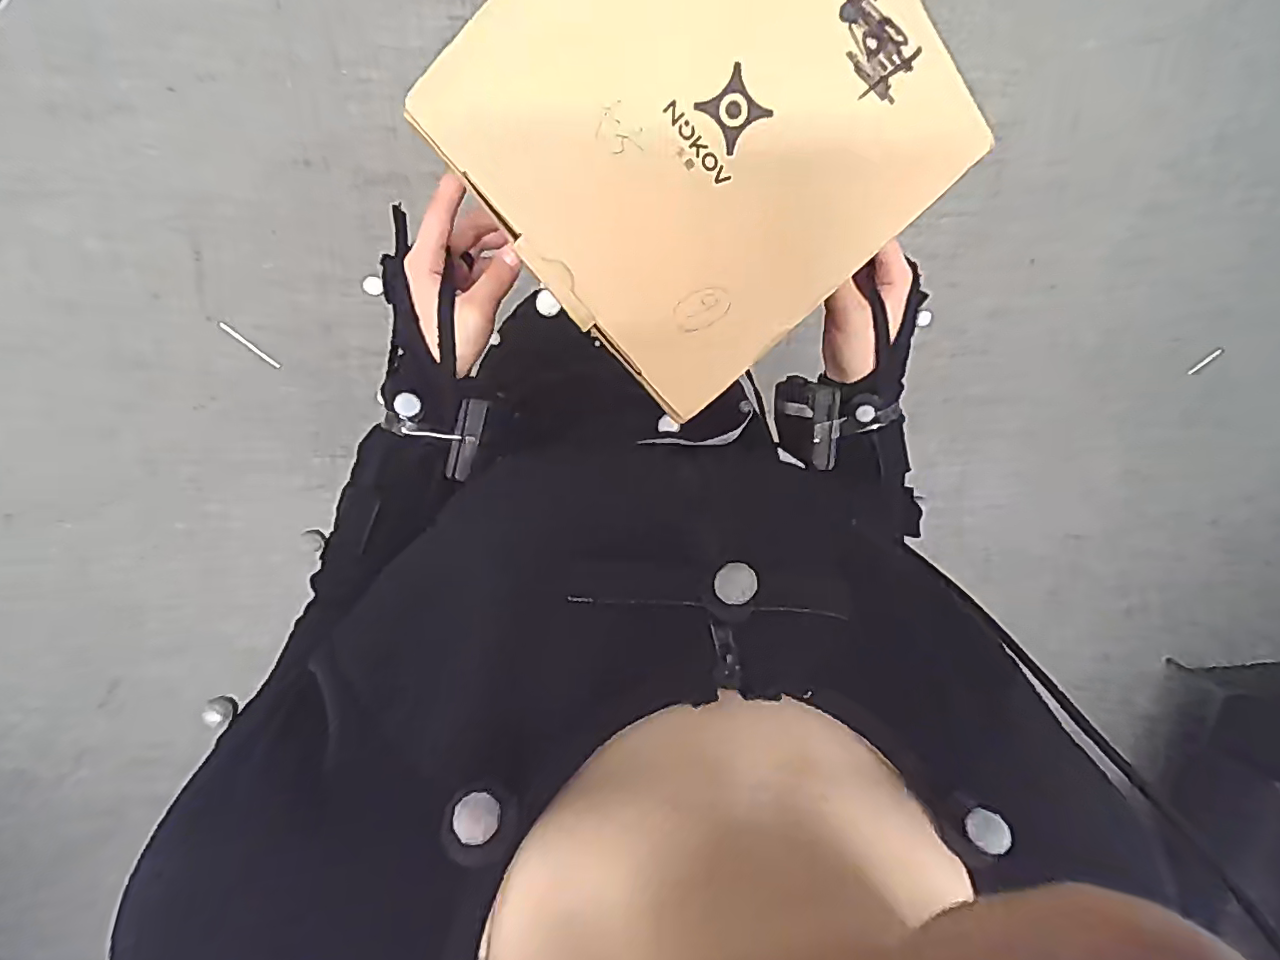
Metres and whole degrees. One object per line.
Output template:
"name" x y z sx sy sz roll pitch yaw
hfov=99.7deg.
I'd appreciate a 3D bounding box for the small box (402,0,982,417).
"small box" 0.020 -0.161 0.289 0.179 0.176 0.168 -41 106 8
